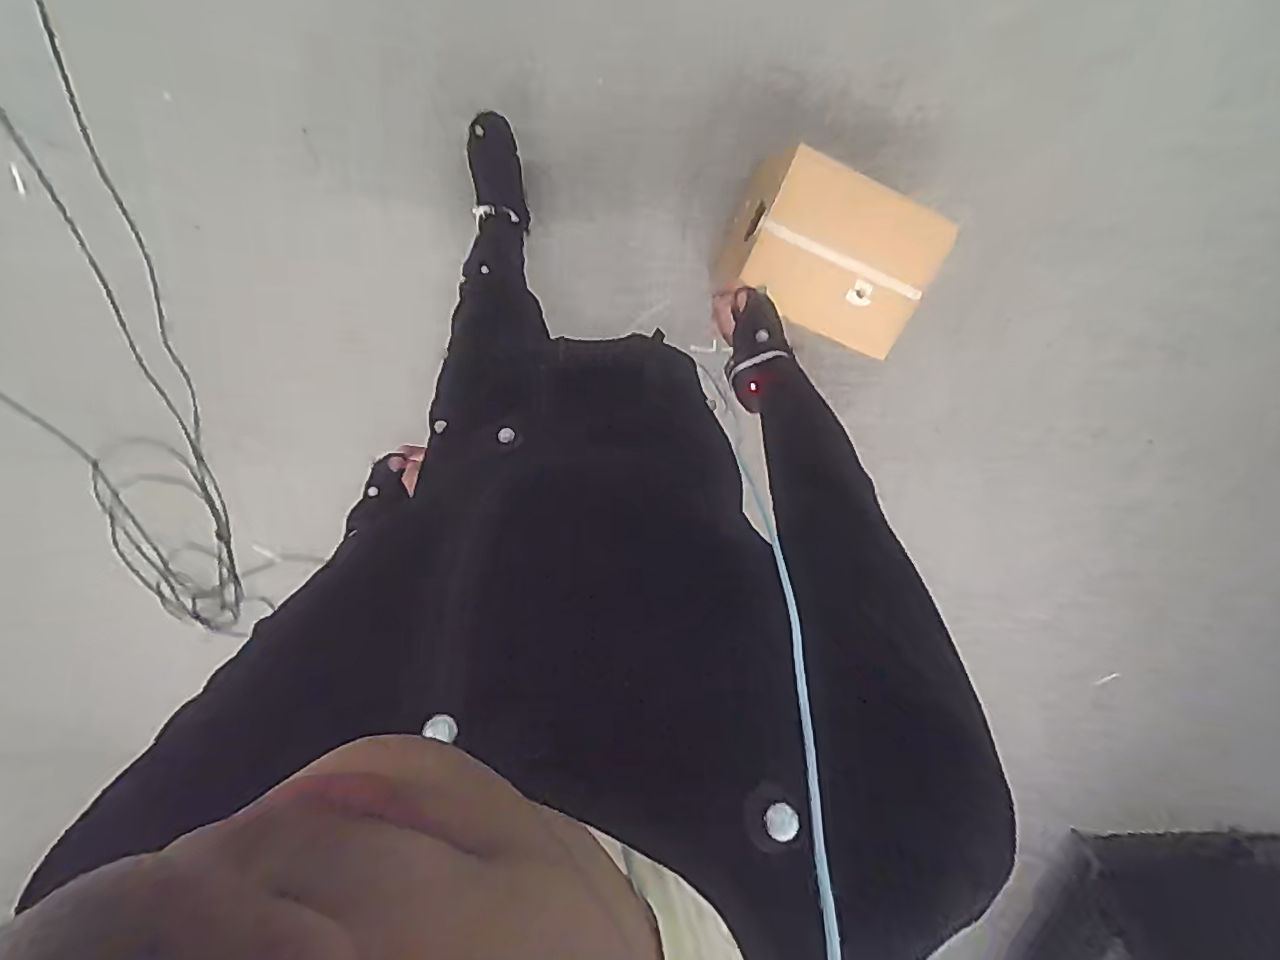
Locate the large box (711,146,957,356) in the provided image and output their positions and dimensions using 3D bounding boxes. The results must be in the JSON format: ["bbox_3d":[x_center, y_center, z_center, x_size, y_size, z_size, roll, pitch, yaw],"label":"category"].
[{"bbox_3d":[0.432,-0.541,1.304,0.408,0.320,0.320,19,113,-12],"label":"large box"}]
